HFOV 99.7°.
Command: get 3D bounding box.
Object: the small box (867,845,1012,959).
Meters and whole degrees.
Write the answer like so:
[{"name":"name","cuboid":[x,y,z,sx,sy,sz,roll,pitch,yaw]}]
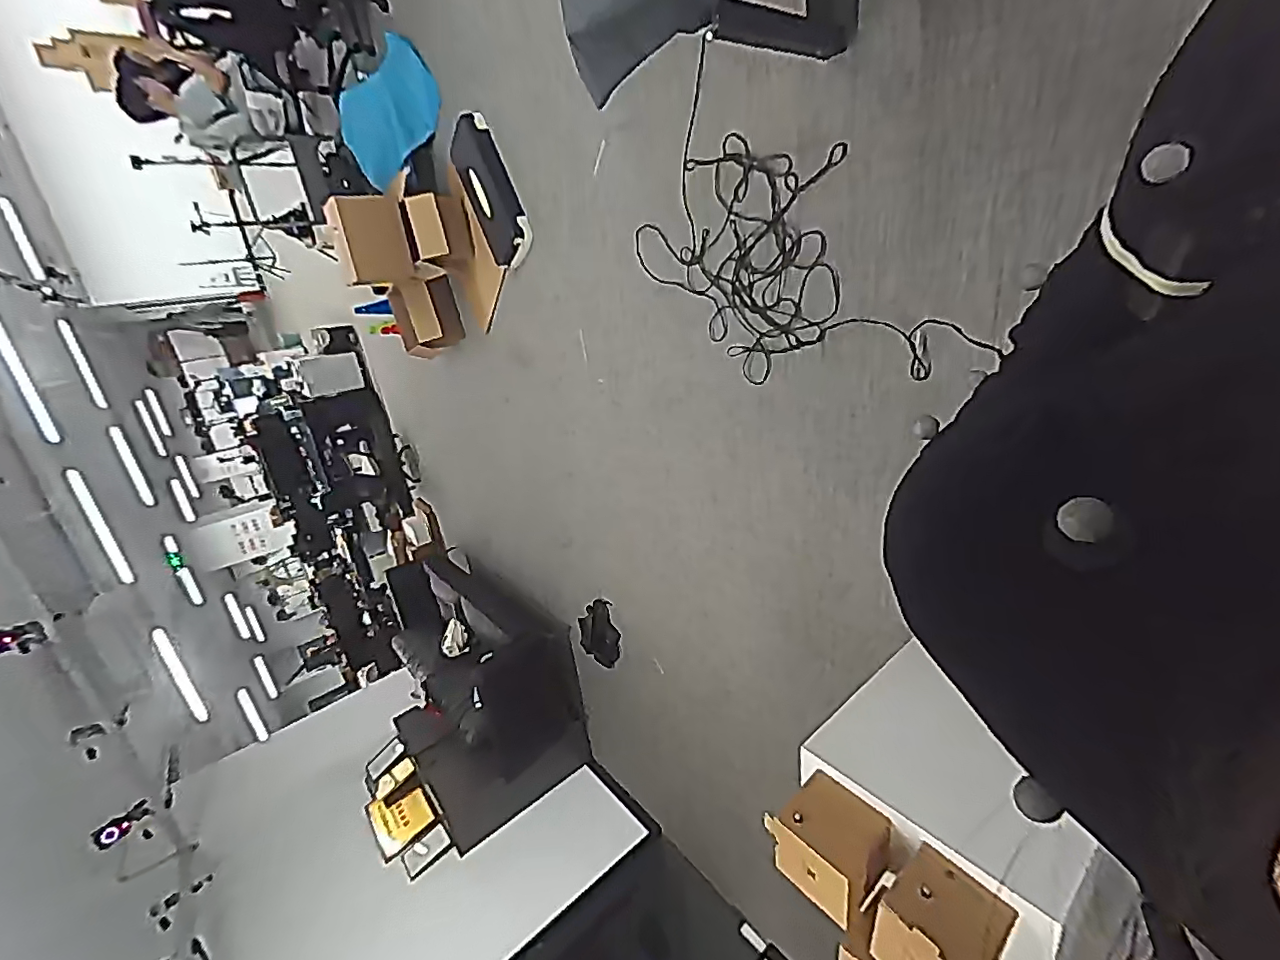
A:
[{"name":"small box","cuboid":[0.542,0.823,0.982,0.168,0.176,0.179,26,129,47]}]
